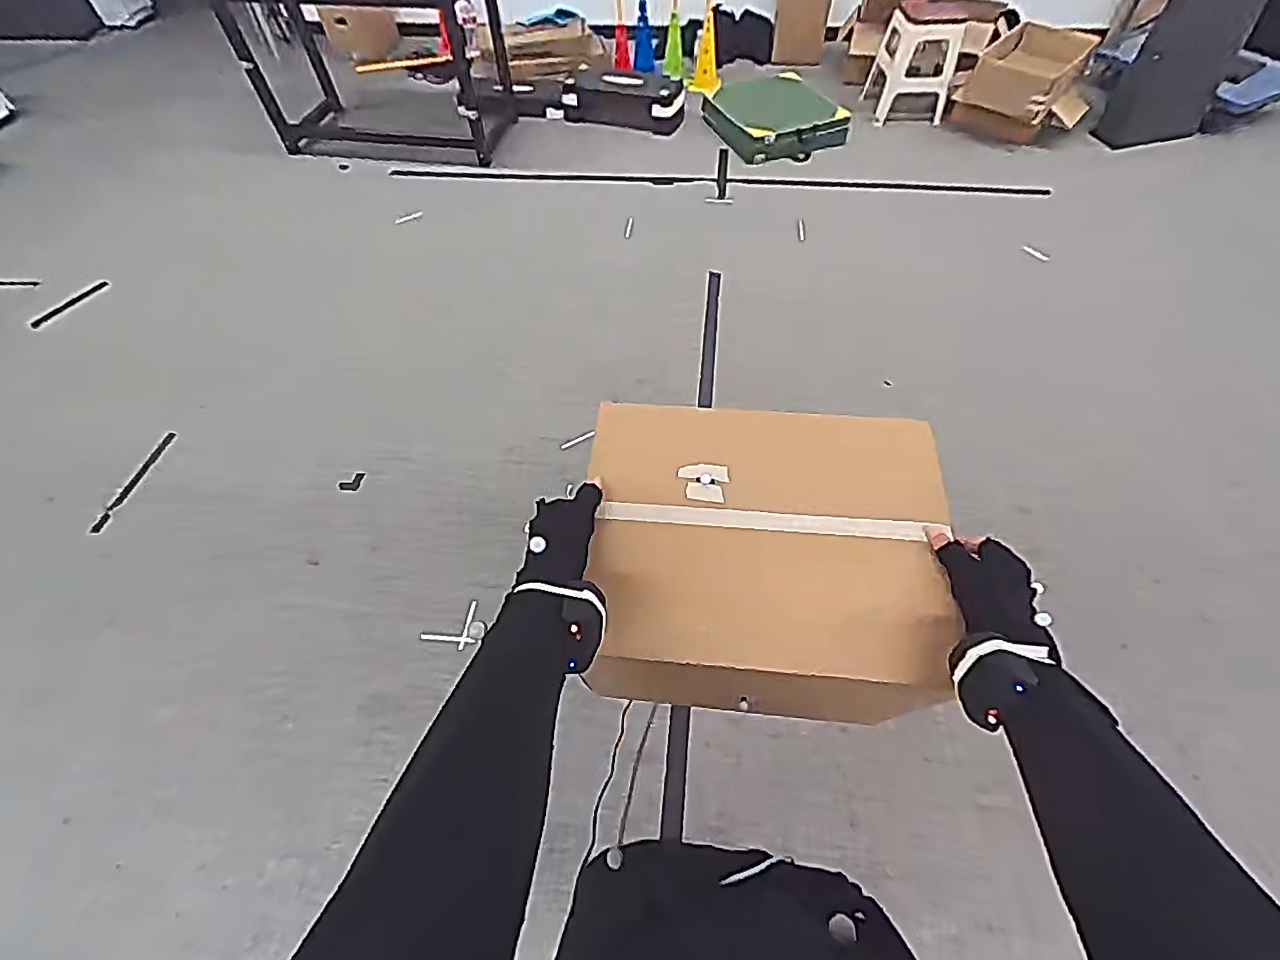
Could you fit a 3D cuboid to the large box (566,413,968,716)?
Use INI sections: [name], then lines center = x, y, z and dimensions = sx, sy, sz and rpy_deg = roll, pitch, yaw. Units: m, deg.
[large box]
center = 0.145, 0.128, 0.738
dimensions = 0.408, 0.320, 0.320
rpy_deg = 3, 59, 6
